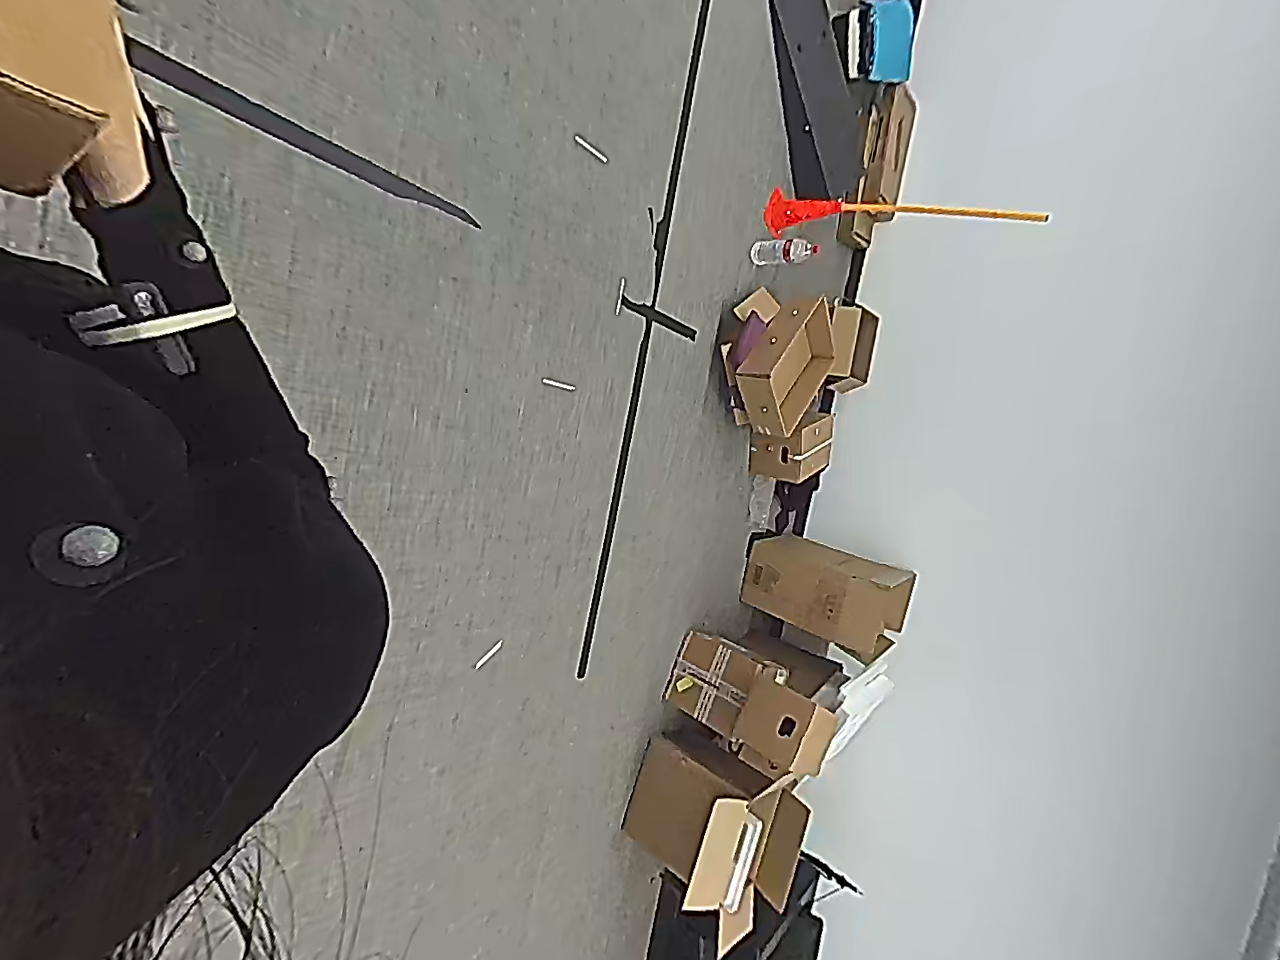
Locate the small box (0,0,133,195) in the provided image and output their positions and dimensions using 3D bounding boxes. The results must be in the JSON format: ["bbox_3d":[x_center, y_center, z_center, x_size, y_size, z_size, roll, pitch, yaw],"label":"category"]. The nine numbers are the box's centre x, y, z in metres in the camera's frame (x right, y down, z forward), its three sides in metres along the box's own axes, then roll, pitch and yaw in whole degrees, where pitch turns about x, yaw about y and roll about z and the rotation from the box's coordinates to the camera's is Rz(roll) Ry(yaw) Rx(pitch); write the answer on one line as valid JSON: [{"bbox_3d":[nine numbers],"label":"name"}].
[{"bbox_3d":[-0.335,-0.249,0.217,0.168,0.176,0.179,2,95,-55],"label":"small box"}]
